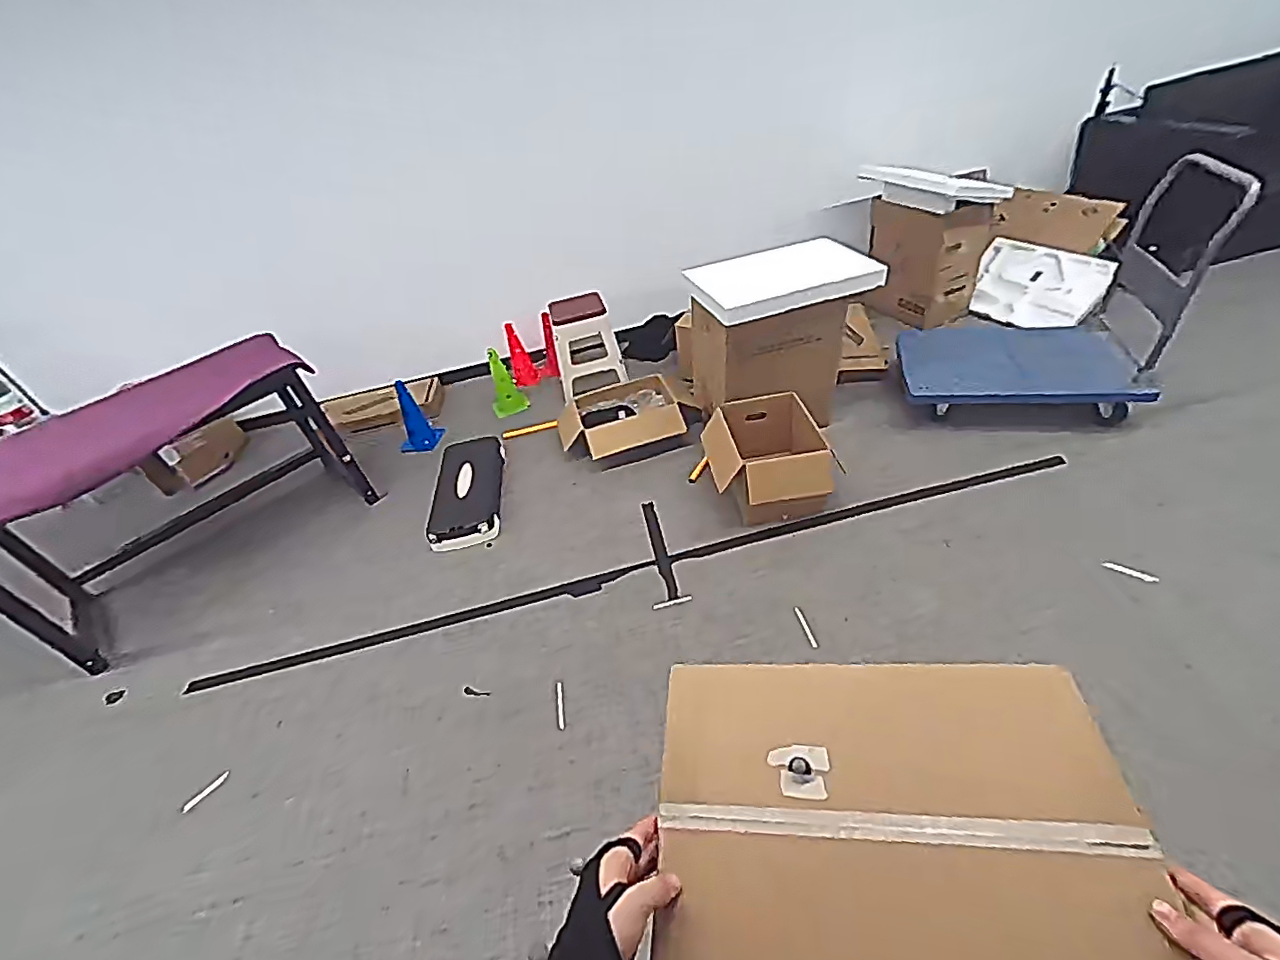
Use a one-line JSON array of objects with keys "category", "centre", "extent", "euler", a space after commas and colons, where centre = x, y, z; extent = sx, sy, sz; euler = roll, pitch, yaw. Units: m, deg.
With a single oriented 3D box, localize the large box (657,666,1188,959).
[{"category": "large box", "centre": [0.250, 0.425, 0.590], "extent": [0.408, 0.320, 0.320], "euler": [-6, 42, 13]}]
